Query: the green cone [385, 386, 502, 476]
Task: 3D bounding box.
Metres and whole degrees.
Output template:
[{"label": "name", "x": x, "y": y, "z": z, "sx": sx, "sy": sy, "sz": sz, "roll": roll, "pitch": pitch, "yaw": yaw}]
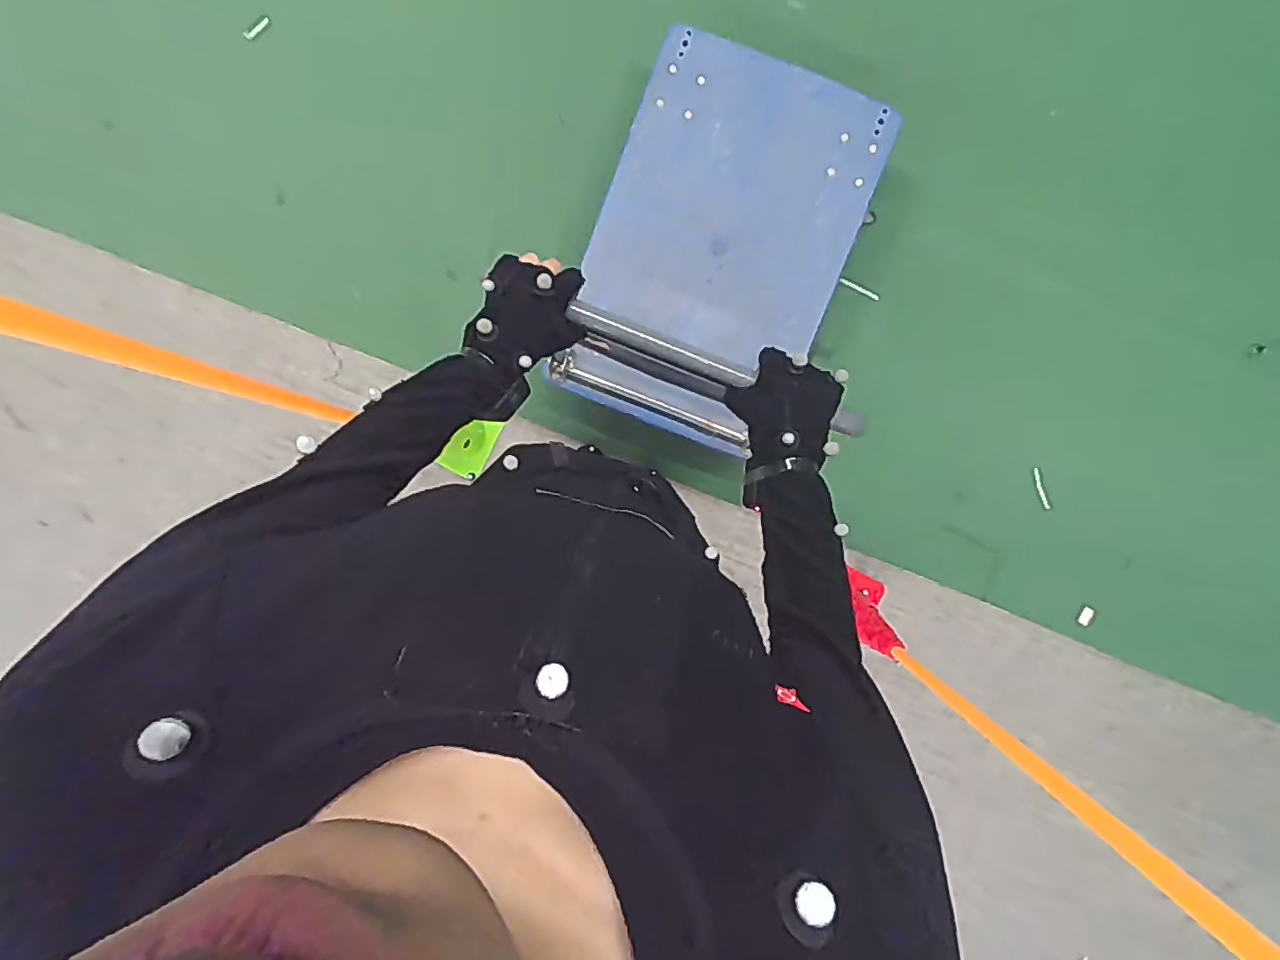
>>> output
[{"label": "green cone", "x": -0.502, "y": -0.125, "z": 1.300, "sx": 0.202, "sy": 0.368, "sz": 0.200, "roll": 27, "pitch": 93, "yaw": 0}]
